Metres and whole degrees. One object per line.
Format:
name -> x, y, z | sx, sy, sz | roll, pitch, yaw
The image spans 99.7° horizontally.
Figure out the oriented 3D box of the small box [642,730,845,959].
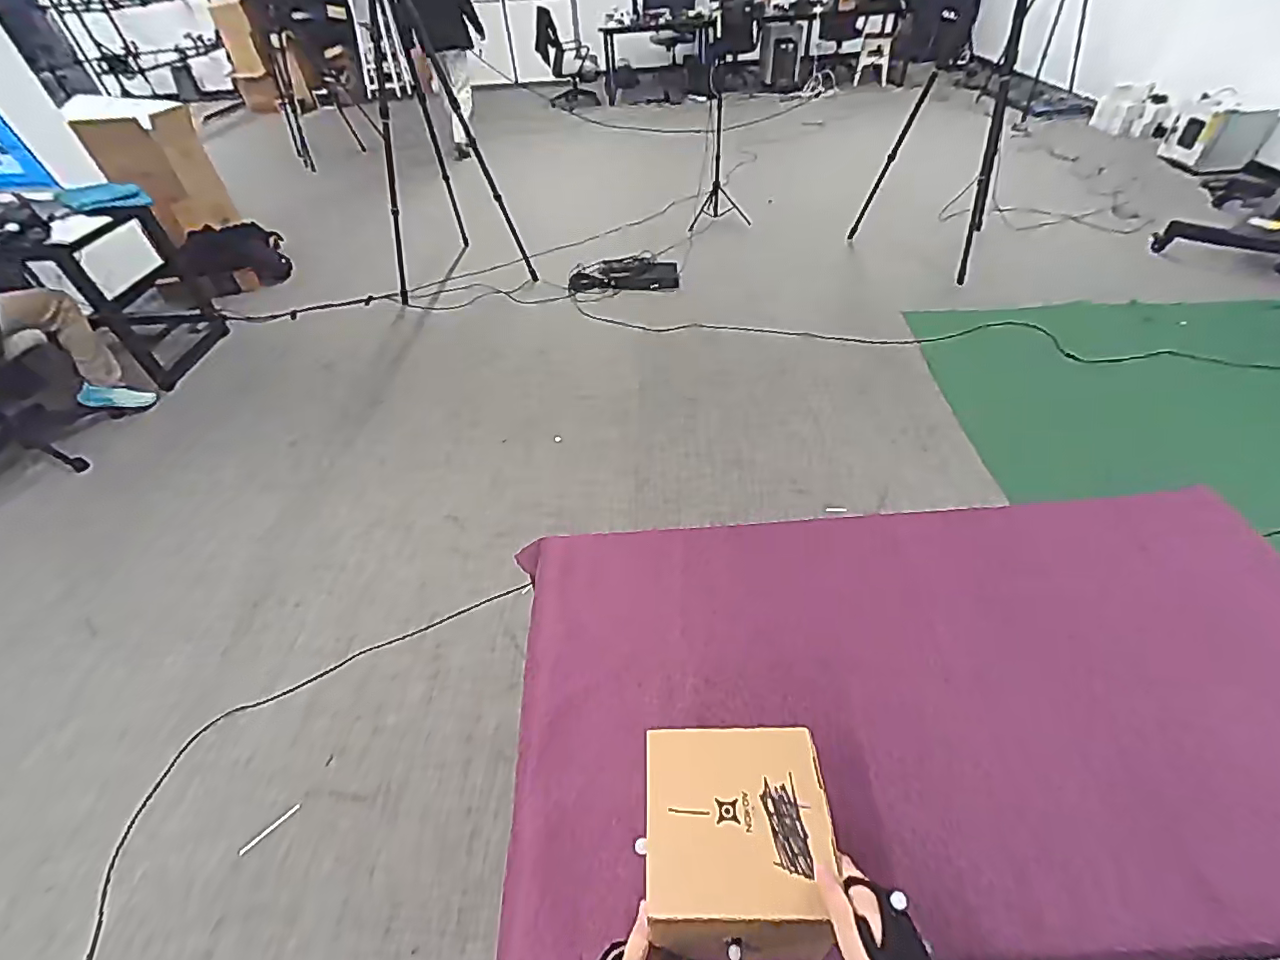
small box -> 0.094, 0.384, 0.570 | 0.179, 0.176, 0.168 | -2, 40, 3
